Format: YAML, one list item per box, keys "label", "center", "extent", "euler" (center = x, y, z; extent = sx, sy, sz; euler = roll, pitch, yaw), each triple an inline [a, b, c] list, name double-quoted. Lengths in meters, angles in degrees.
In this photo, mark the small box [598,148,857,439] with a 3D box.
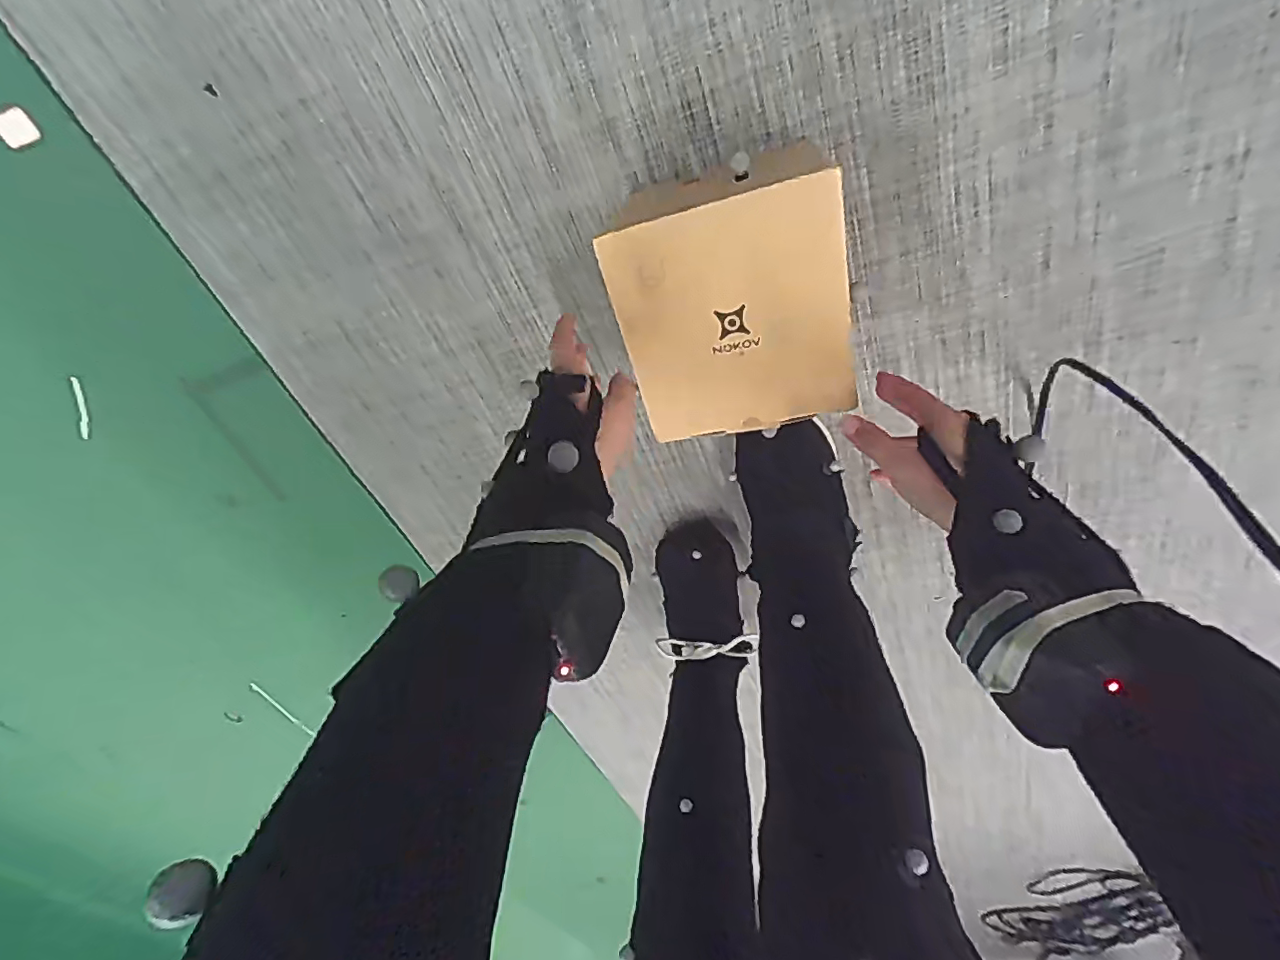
- label: "small box"
  center: [0.079, -0.162, 0.461]
  extent: [0.168, 0.176, 0.179]
  euler: [-9, 126, 16]
